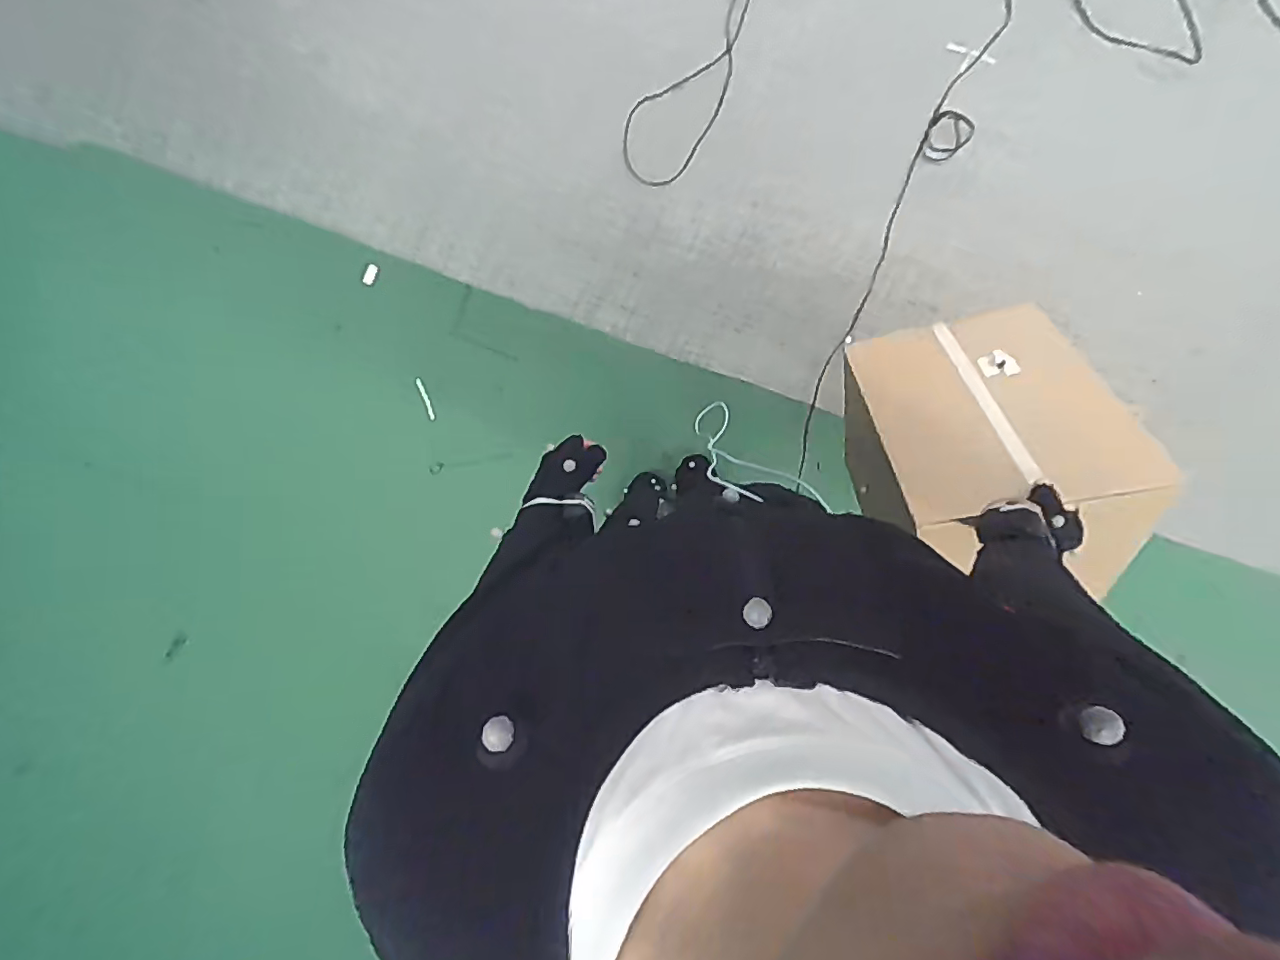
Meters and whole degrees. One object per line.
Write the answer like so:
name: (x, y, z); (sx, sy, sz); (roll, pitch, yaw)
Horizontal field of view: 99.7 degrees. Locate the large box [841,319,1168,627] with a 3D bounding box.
large box: (0.561, -0.009, 0.941); (0.320, 0.320, 0.408); (-10, 47, 12)
